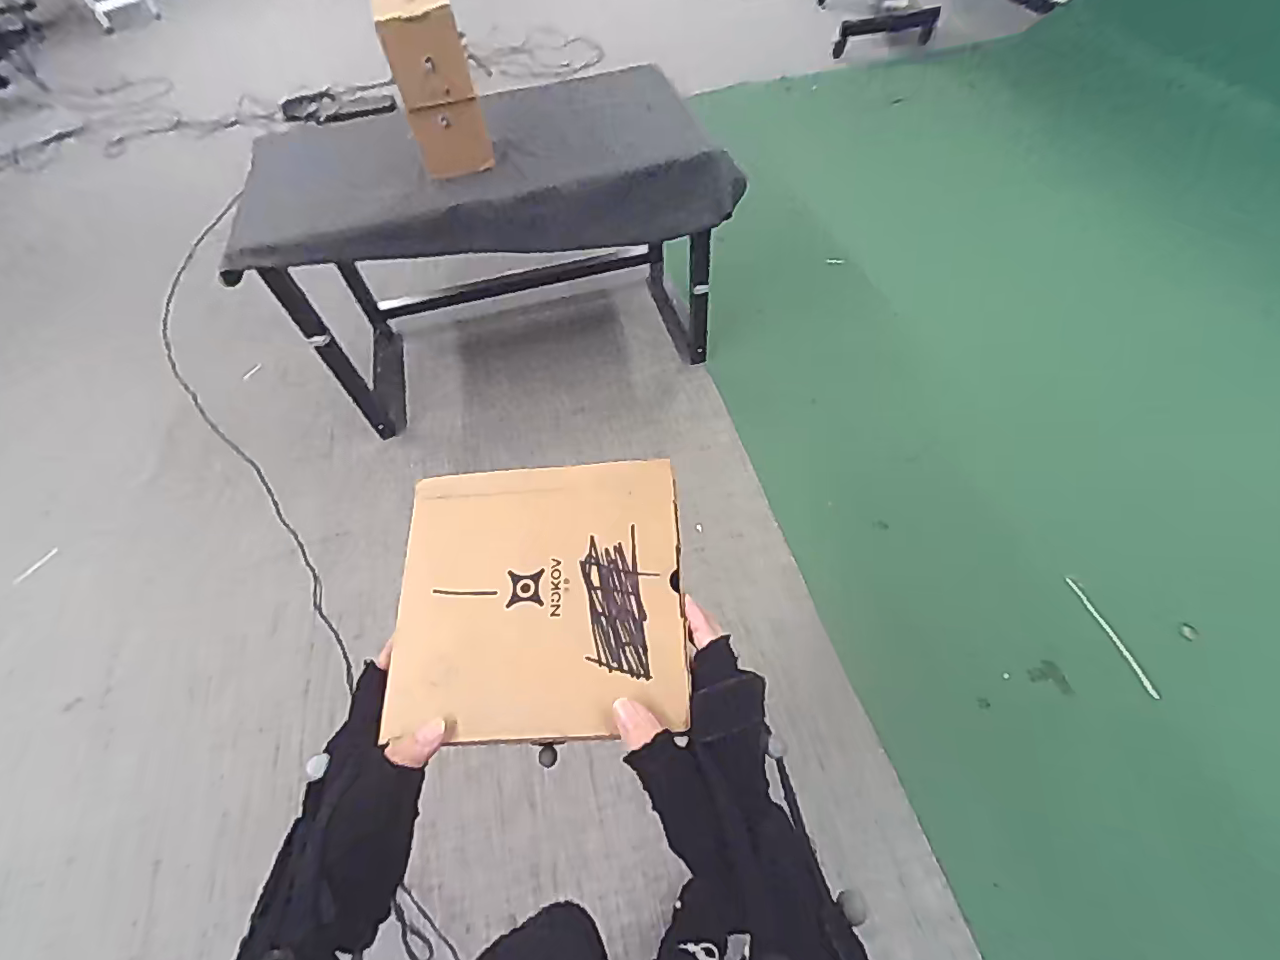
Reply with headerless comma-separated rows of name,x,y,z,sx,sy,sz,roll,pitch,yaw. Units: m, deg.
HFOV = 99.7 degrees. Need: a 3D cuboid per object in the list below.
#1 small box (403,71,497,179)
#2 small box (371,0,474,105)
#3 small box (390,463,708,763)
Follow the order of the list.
small box,-0.474,-0.883,1.353,0.179,0.176,0.168,-15,57,-7
small box,-0.483,-0.969,1.214,0.168,0.176,0.179,-16,57,-6
small box,-0.053,0.103,0.397,0.179,0.176,0.168,-7,65,0
